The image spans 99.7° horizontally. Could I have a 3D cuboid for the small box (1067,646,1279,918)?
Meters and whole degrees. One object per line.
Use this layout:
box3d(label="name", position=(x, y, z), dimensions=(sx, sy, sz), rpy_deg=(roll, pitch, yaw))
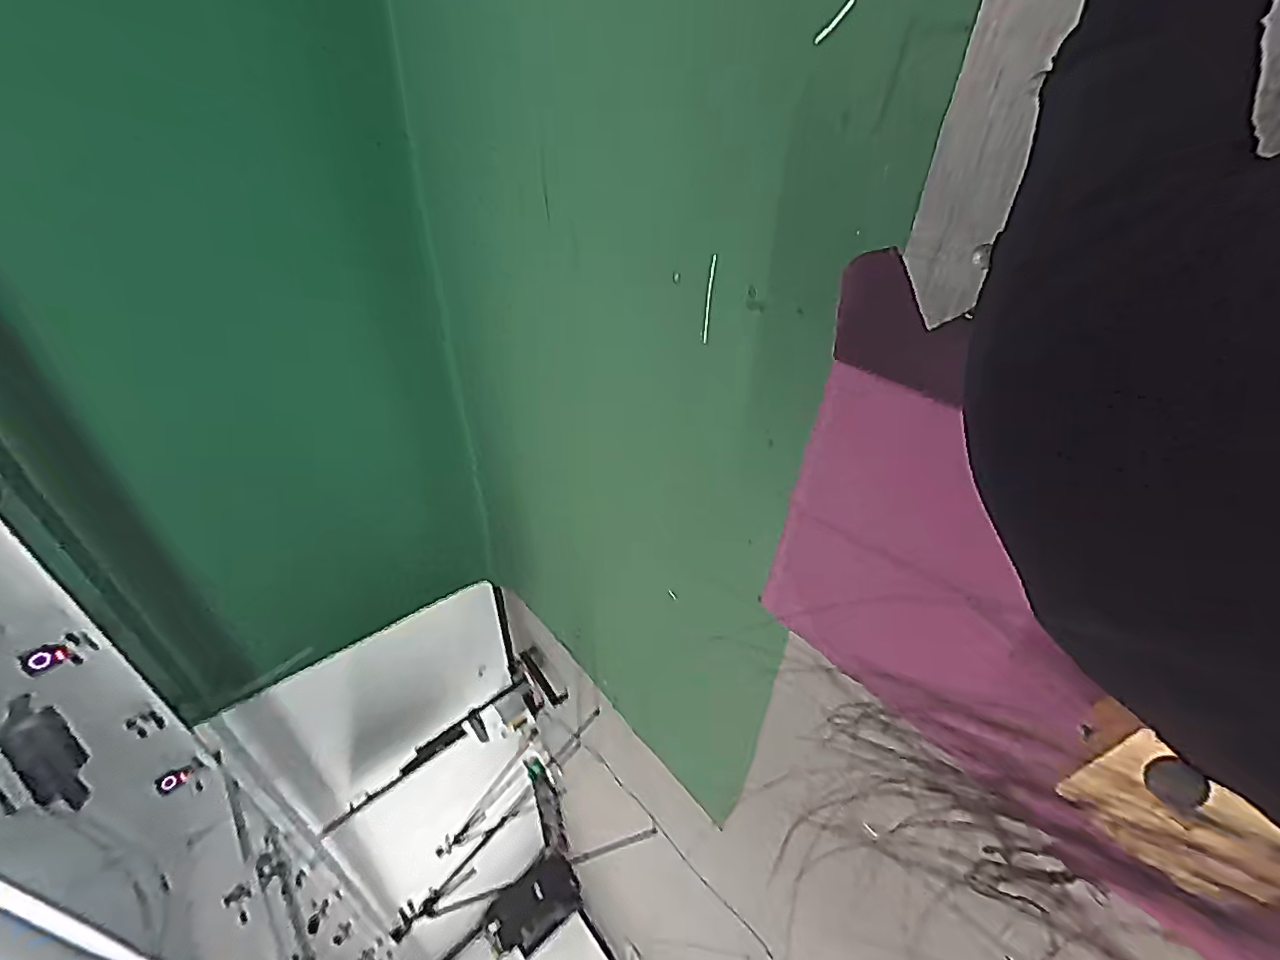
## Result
box3d(label="small box", position=(0.639, 0.326, 0.603), dimensions=(0.168, 0.176, 0.179), rpy_deg=(39, 140, 32))
